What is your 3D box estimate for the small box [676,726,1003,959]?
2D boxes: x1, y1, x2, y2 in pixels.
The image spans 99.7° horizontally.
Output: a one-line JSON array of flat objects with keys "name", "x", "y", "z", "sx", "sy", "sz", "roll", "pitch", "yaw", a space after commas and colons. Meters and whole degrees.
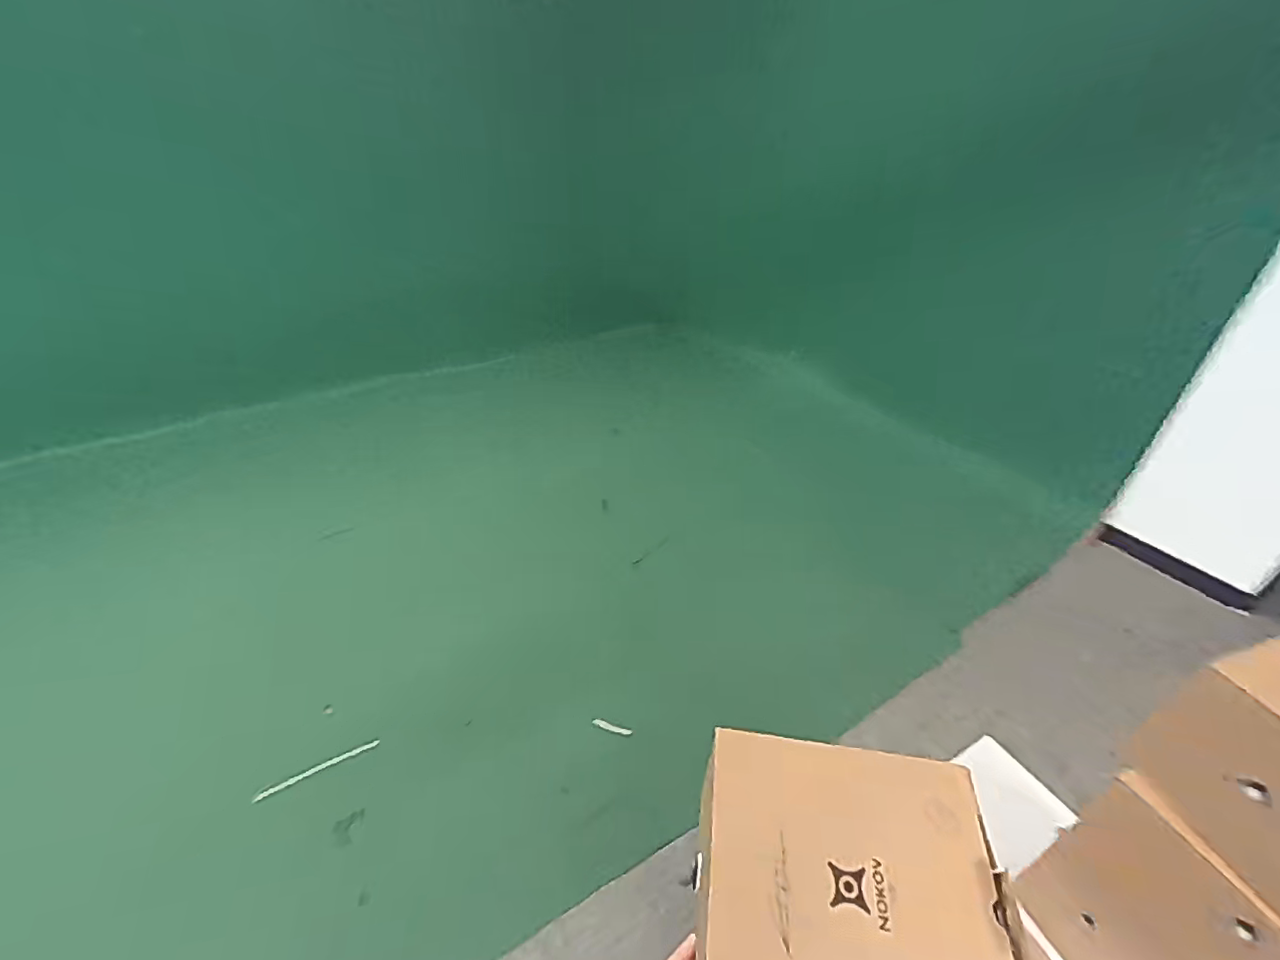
[{"name": "small box", "x": 0.120, "y": 0.300, "z": 0.383, "sx": 0.179, "sy": 0.176, "sz": 0.168, "roll": 5, "pitch": 44, "yaw": 6}]

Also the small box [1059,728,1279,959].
[{"name": "small box", "x": 0.617, "y": 0.416, "z": 0.588, "sx": 0.168, "sy": 0.176, "sz": 0.179, "roll": -14, "pitch": 38, "yaw": -16}]

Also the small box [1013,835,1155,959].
[{"name": "small box", "x": 0.624, "y": 0.549, "z": 0.681, "sx": 0.168, "sy": 0.176, "sz": 0.179, "roll": -14, "pitch": 38, "yaw": -16}]
